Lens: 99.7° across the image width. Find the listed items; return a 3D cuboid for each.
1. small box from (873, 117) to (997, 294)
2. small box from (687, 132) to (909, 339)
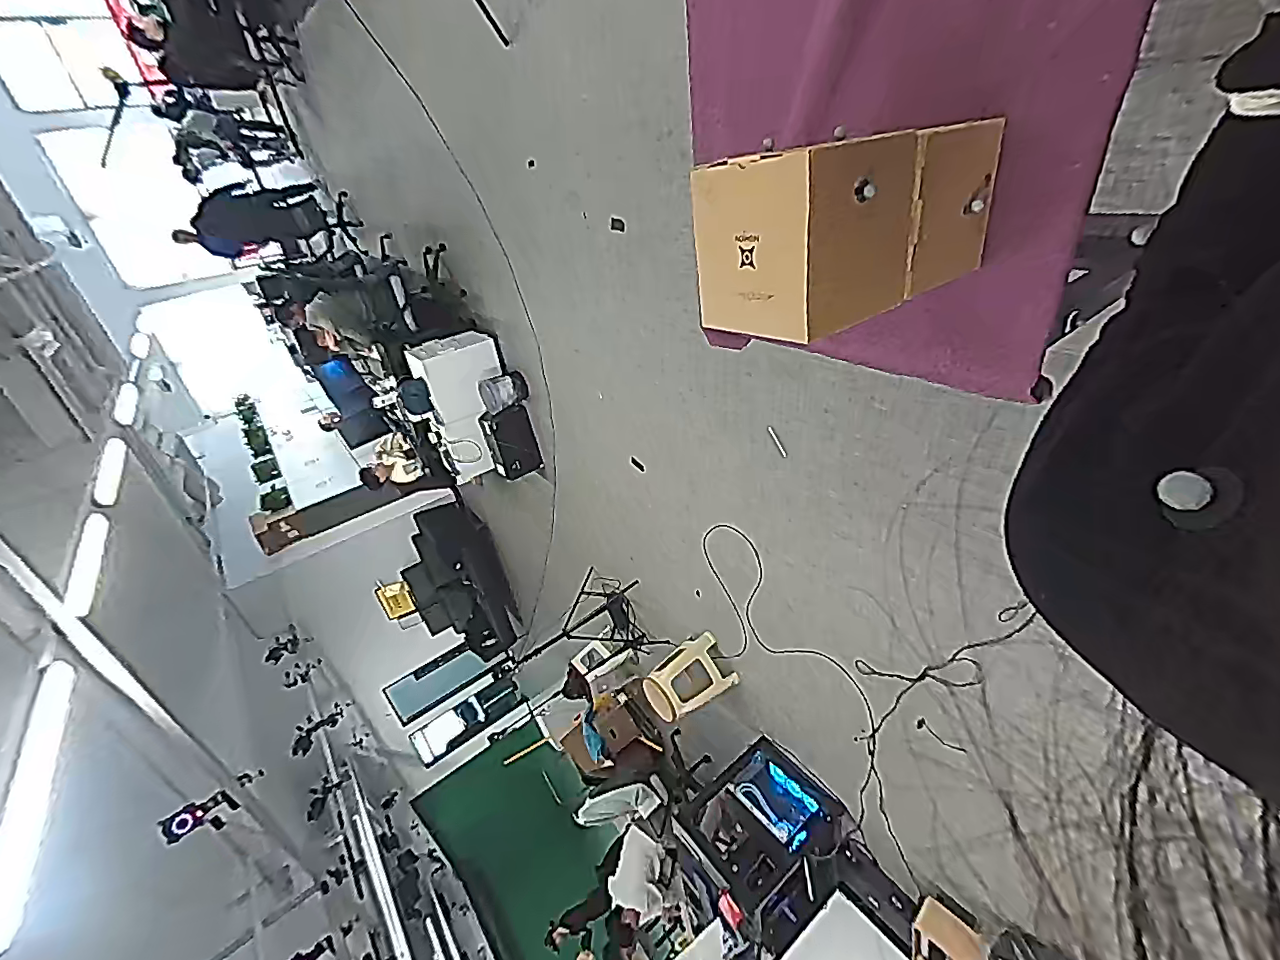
[{"bbox_3d":[0.305,-0.344,0.681,0.179,0.176,0.168,29,138,47],"label":"small box"},{"bbox_3d":[0.177,-0.277,0.608,0.168,0.176,0.179,30,139,49],"label":"small box"}]
